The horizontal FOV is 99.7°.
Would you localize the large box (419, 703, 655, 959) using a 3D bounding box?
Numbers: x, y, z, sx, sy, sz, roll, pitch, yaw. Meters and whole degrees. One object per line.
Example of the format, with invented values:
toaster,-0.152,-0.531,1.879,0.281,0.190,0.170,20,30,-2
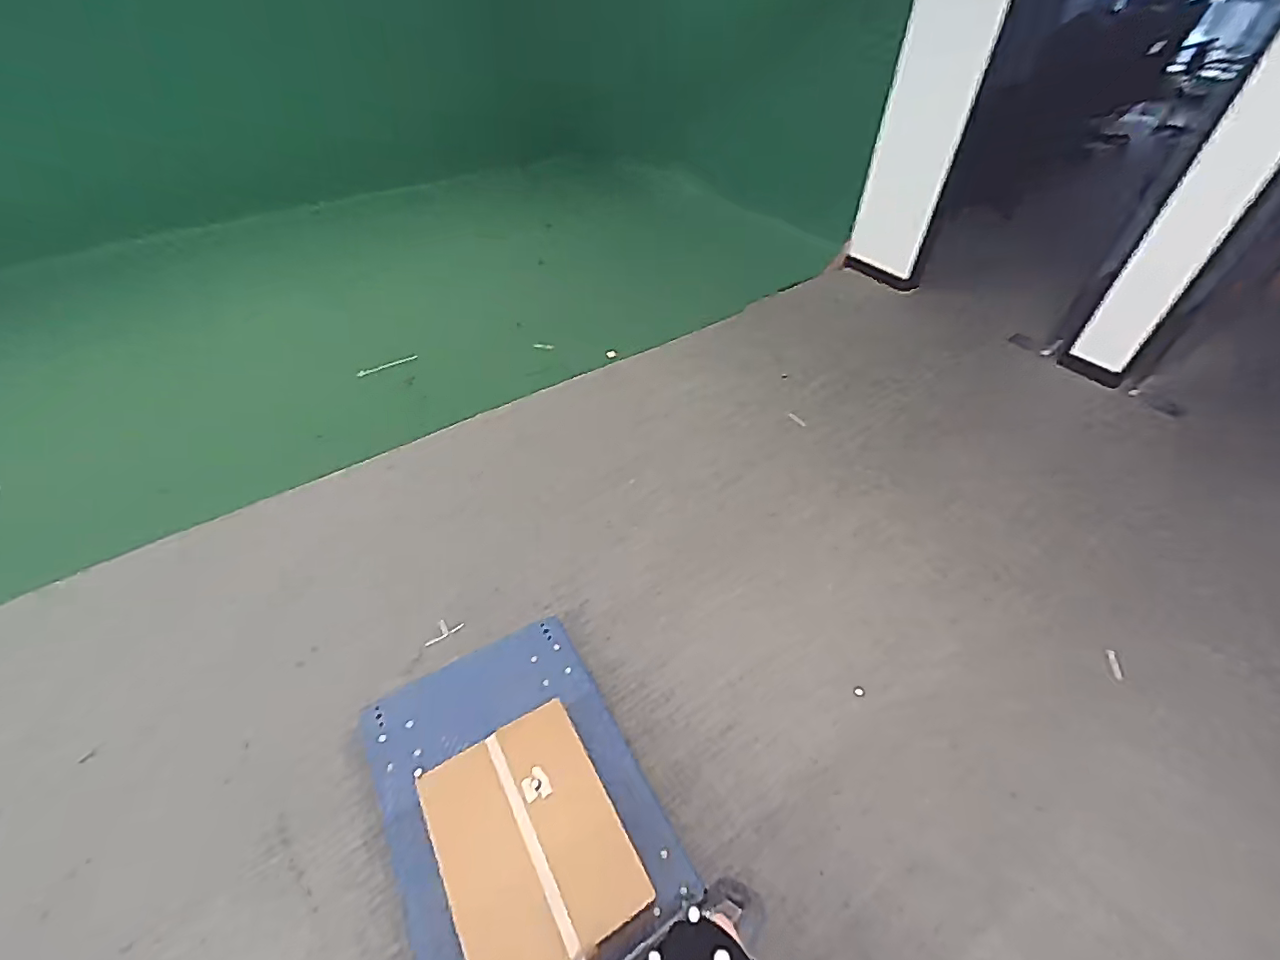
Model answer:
large box,-0.201,0.763,1.110,0.320,0.320,0.408,-23,49,-21
